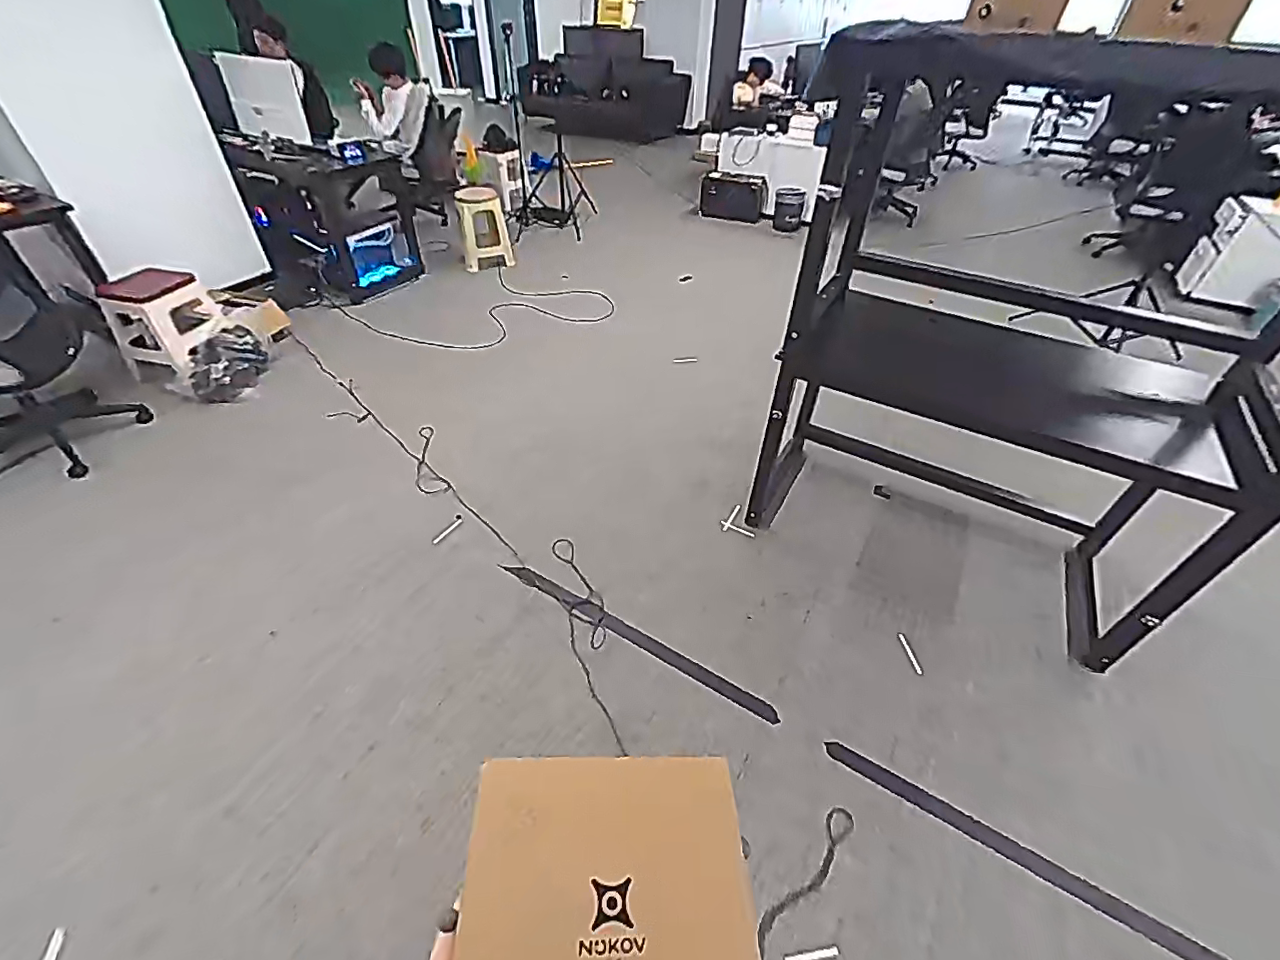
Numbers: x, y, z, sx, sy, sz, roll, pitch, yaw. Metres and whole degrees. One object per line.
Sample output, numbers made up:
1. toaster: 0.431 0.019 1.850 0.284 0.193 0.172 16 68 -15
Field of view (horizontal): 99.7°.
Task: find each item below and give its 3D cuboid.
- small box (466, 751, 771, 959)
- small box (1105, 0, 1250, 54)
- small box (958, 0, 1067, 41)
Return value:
1. small box: -0.022 0.301 0.350 0.168 0.176 0.179 4 42 -7
2. small box: 0.952 -0.858 0.940 0.168 0.176 0.179 22 44 21
3. small box: 0.728 -0.947 1.026 0.168 0.176 0.179 22 43 18
